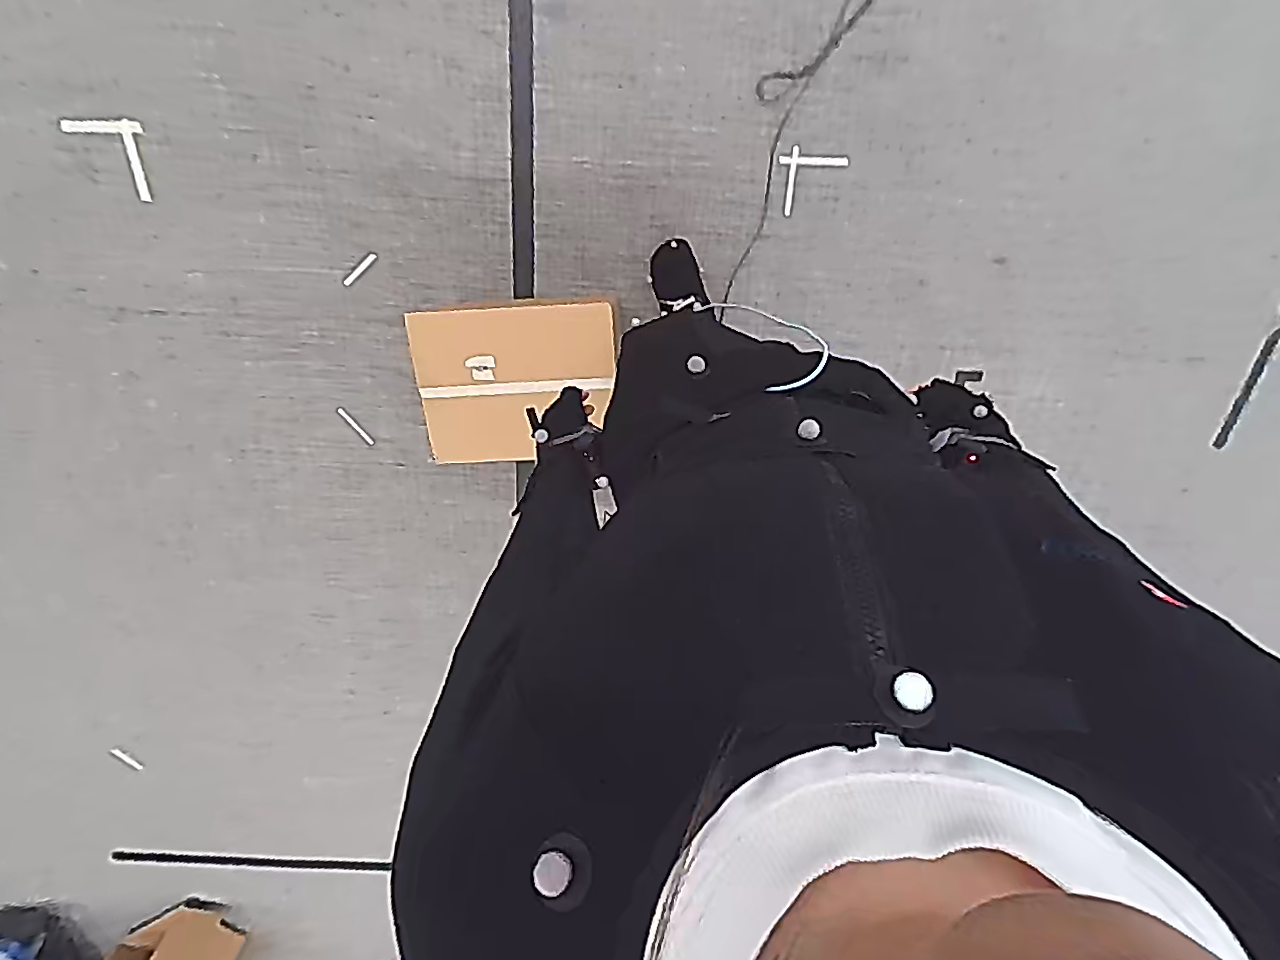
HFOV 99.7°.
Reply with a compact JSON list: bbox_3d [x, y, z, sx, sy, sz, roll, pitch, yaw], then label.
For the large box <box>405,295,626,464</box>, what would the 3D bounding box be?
[{"bbox_3d":[-0.248,-0.241,1.232,0.408,0.320,0.320,-2,110,2],"label":"large box"}]
